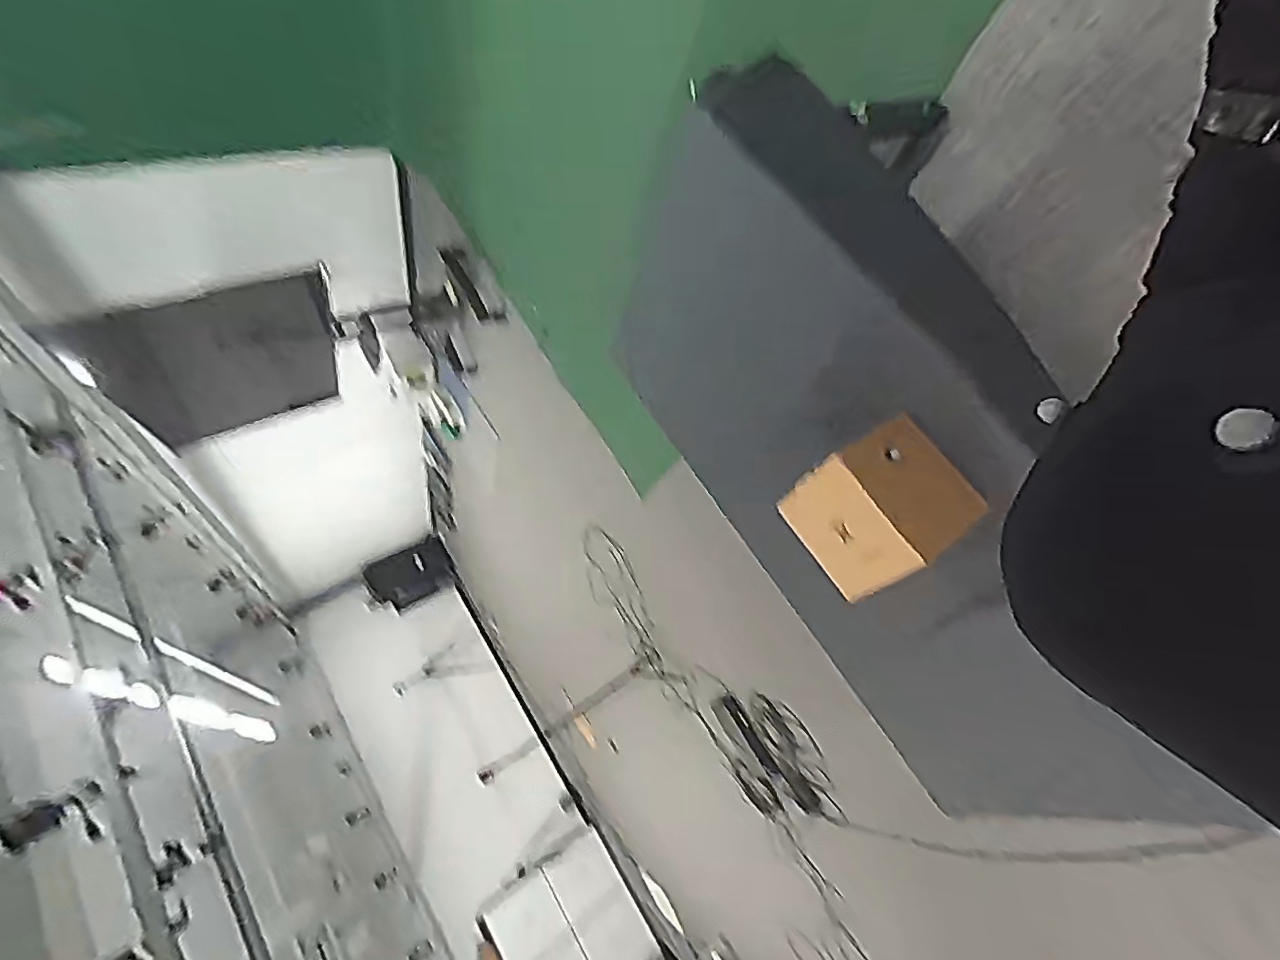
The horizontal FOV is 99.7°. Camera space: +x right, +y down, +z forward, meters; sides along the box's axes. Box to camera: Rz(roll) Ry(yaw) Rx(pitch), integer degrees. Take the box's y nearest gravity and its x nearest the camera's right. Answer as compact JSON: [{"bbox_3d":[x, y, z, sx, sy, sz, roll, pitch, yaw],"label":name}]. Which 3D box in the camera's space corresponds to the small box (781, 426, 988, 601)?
[{"bbox_3d":[0.350,0.041,0.787,0.179,0.176,0.168,53,151,16],"label":"small box"}]
